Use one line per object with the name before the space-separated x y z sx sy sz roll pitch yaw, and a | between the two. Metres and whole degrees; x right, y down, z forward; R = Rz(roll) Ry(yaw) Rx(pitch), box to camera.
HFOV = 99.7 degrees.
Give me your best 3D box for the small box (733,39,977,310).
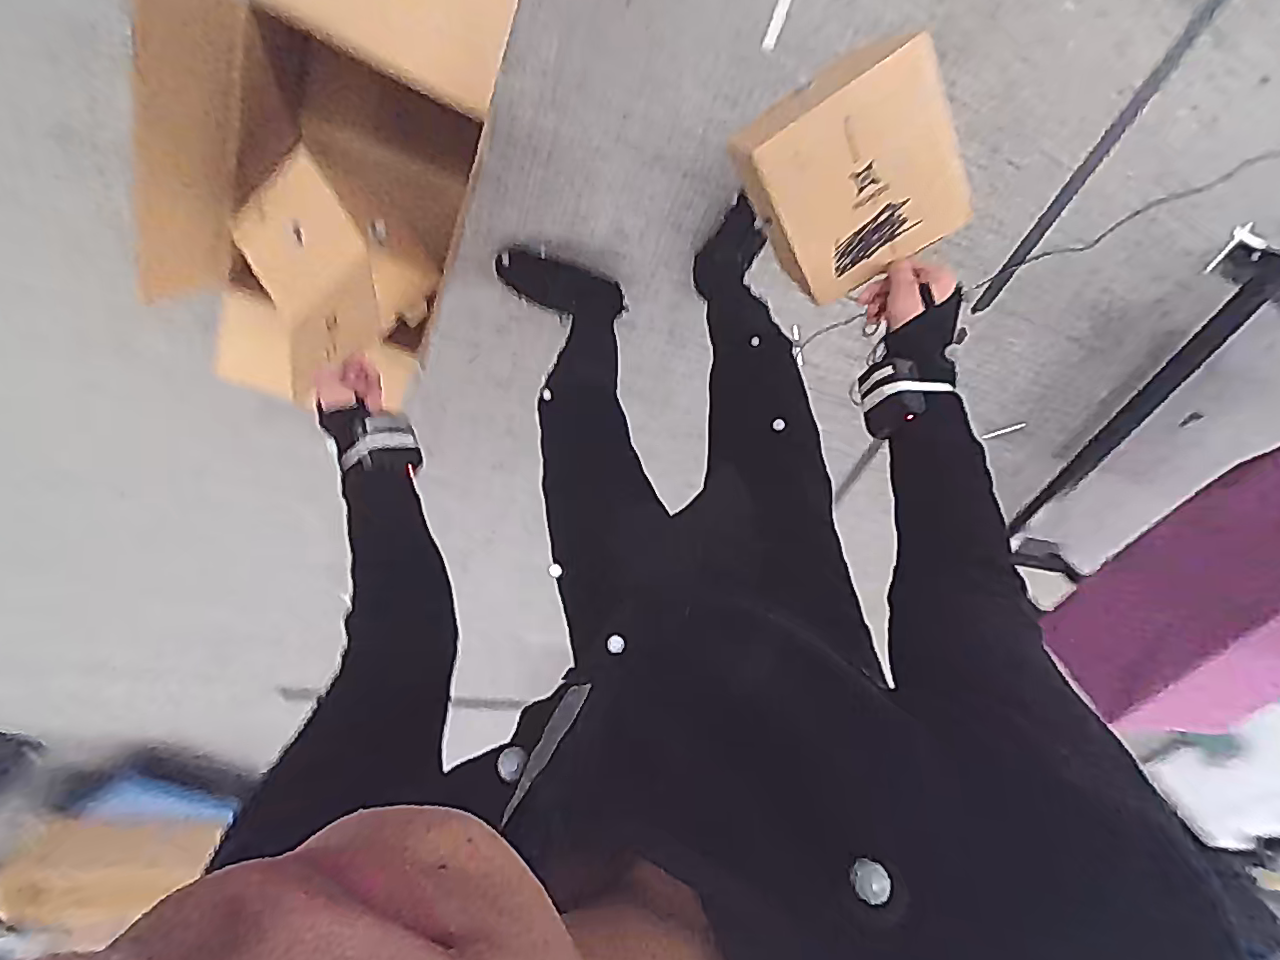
small box | 0.218 -0.321 0.579 0.168 0.176 0.179 -29 120 16
